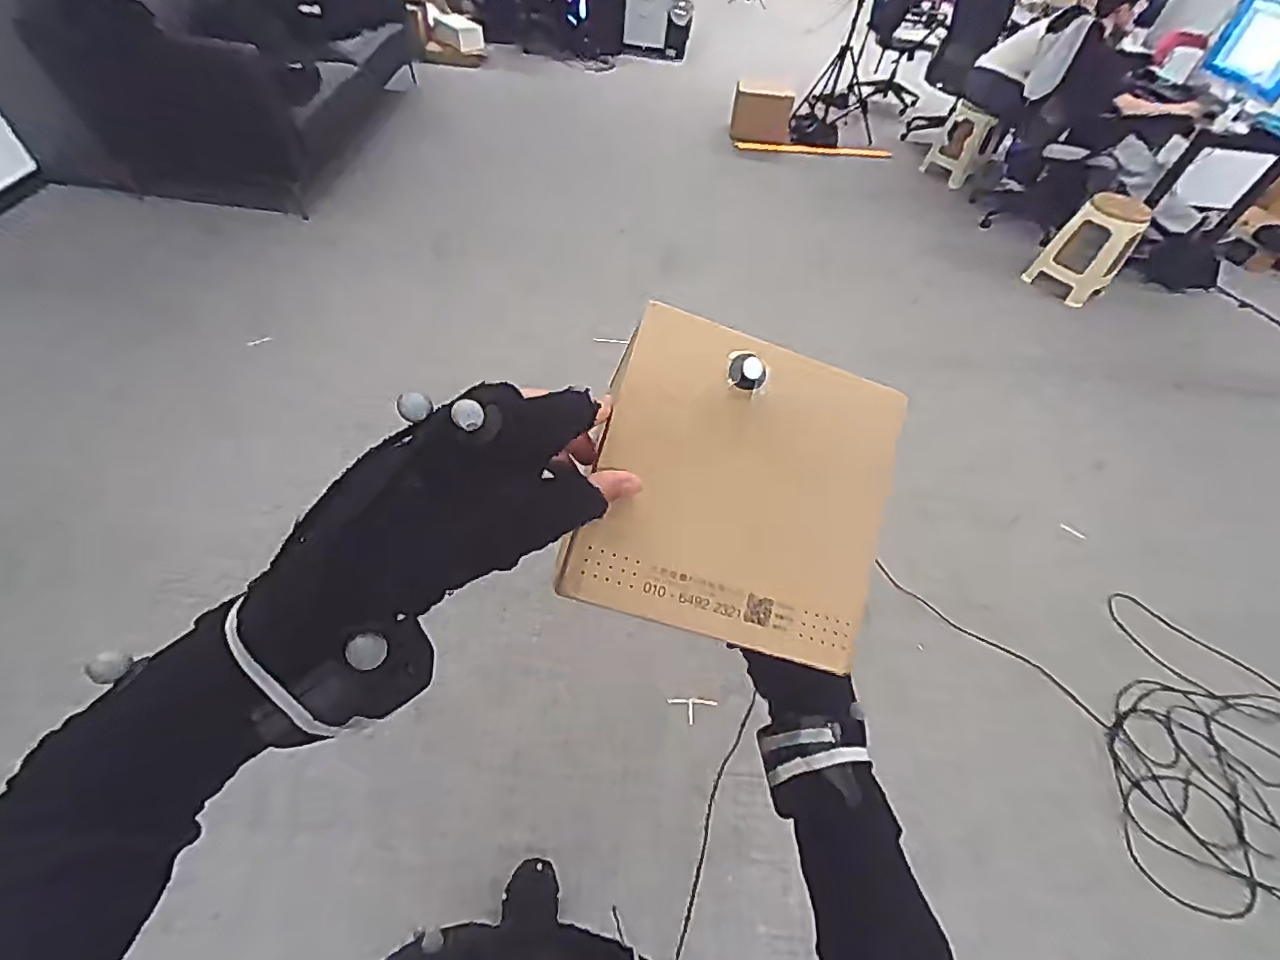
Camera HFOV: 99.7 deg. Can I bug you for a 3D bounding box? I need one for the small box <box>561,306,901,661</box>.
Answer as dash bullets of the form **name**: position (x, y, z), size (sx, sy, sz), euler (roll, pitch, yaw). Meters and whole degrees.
- **small box**: position (0.046, 0.013, 0.387), size (0.168, 0.179, 0.176), euler (18, 80, -7)
